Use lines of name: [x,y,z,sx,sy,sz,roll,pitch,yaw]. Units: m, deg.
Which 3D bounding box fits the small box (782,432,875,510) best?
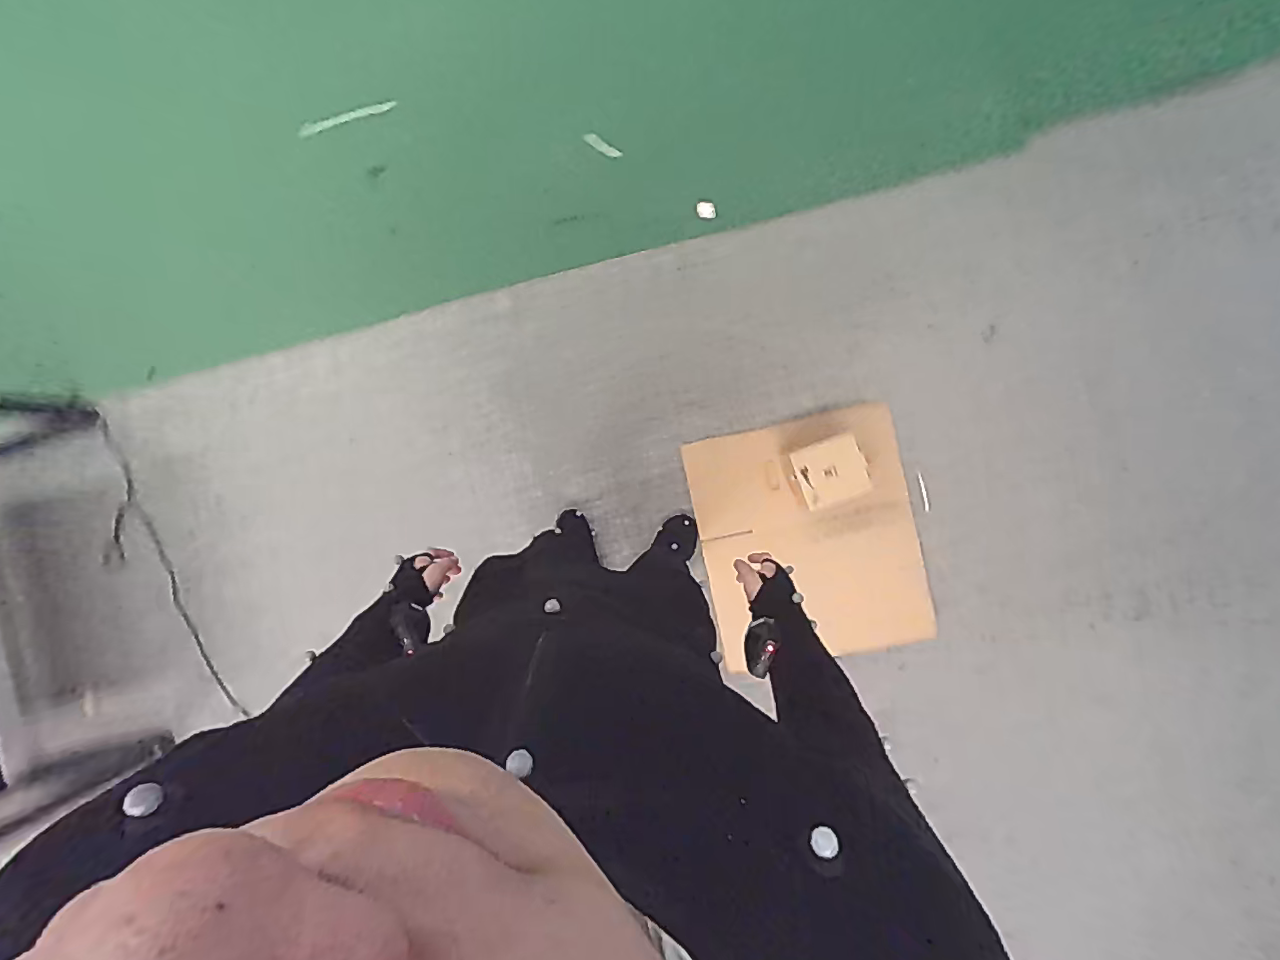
small box: [0.506,-0.027,1.476,0.179,0.176,0.168,-19,90,5]
